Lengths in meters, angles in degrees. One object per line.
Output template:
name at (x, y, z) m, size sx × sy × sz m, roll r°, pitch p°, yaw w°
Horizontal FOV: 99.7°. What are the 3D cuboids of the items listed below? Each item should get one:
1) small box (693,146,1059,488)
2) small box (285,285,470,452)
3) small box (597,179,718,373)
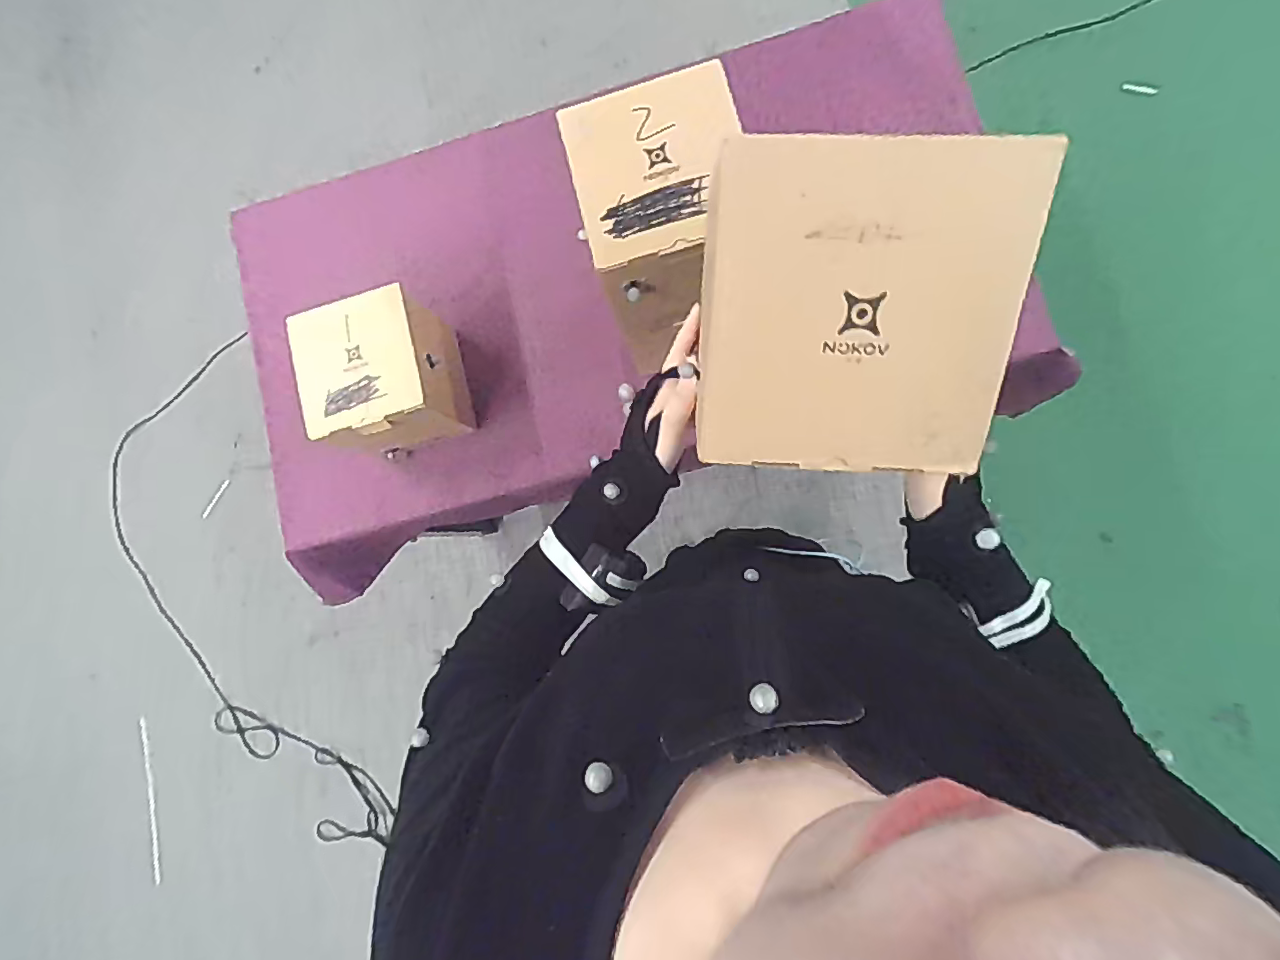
small box at (0.127, -0.111, 0.373) m, size 0.168 × 0.176 × 0.179 m, roll 4°, pitch 112°, yaw 3°
small box at (-0.367, -0.146, 0.785) m, size 0.168 × 0.176 × 0.179 m, roll -15°, pitch 82°, yaw 4°
small box at (0.048, -0.269, 0.750) m, size 0.168 × 0.176 × 0.179 m, roll -12°, pitch 83°, yaw 6°
